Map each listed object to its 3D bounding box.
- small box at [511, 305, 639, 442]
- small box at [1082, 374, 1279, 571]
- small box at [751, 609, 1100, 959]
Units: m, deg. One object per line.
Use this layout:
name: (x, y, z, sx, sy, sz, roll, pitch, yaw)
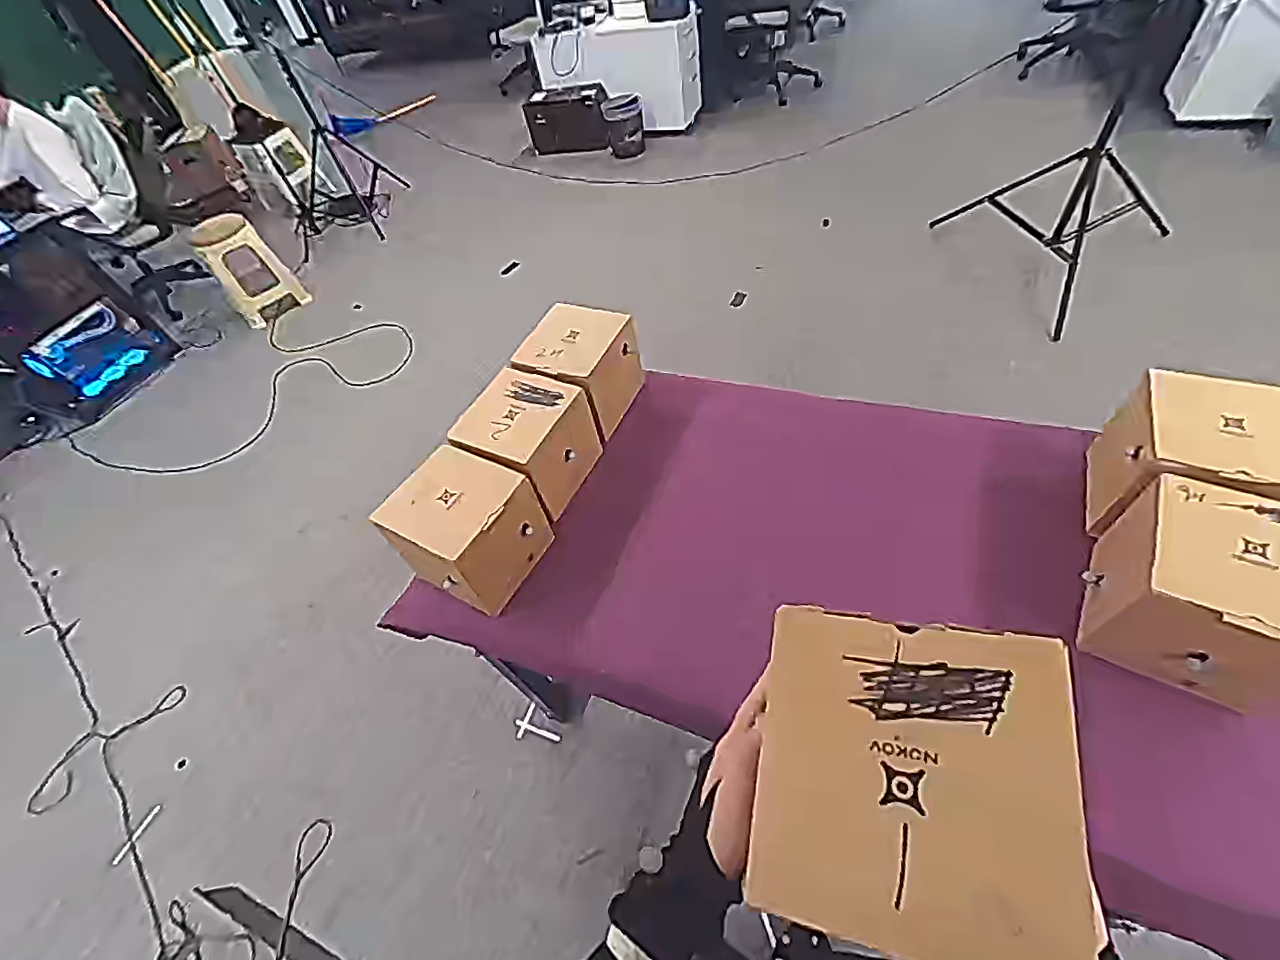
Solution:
small box: (-0.112, -0.203, 1.036, 0.168, 0.176, 0.179, 16, 58, 22)
small box: (0.731, -0.010, 0.726, 0.168, 0.176, 0.179, 17, 56, 21)
small box: (0.184, 0.207, 0.377, 0.168, 0.176, 0.179, 2, 63, 25)
